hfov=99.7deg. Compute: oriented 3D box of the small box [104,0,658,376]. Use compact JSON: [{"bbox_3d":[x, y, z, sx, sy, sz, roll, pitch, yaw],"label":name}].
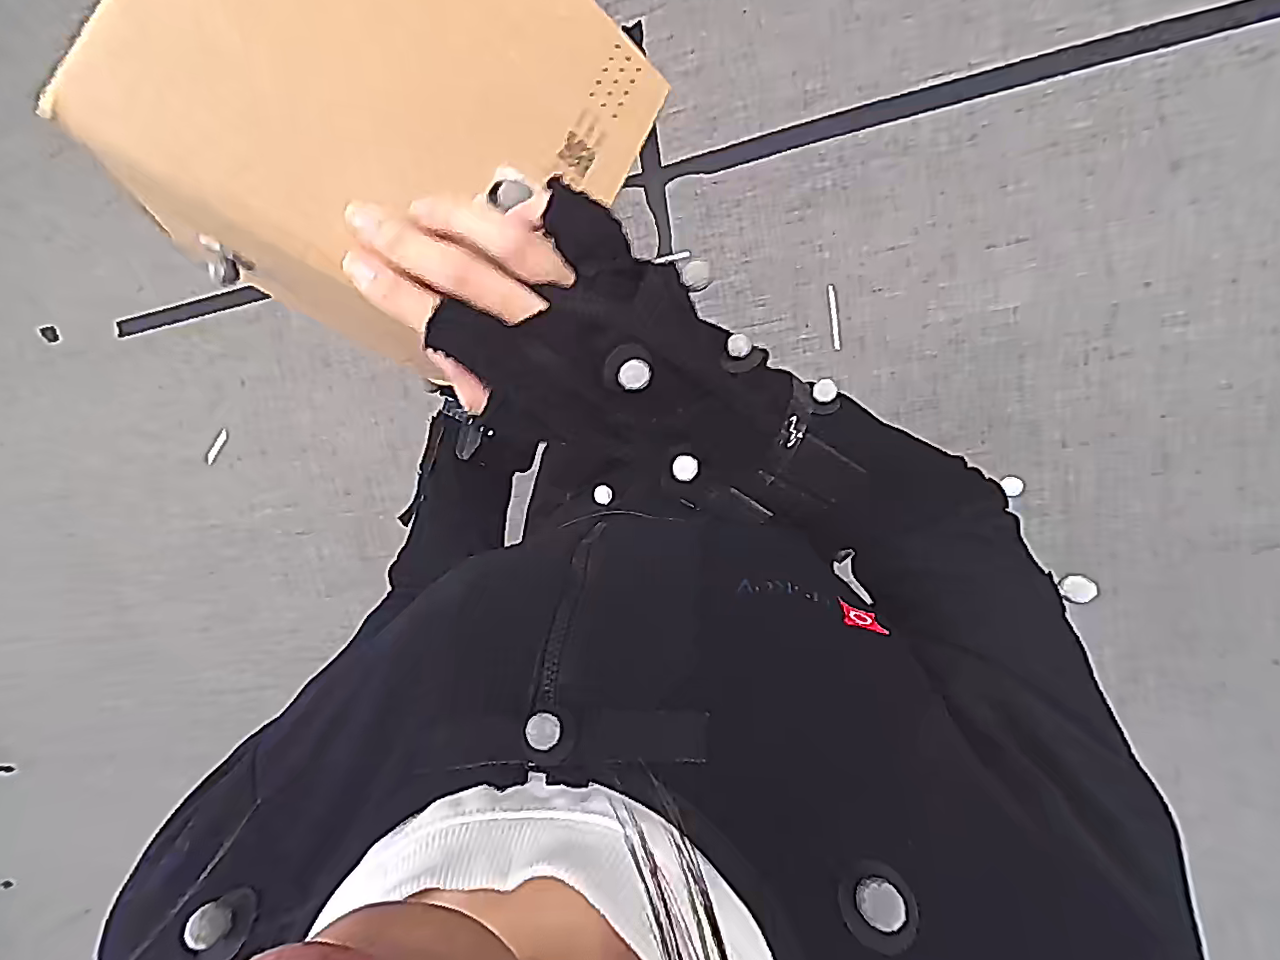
[{"bbox_3d":[-0.122,-0.168,0.298,0.176,0.179,0.168,27,86,-31],"label":"small box"}]
